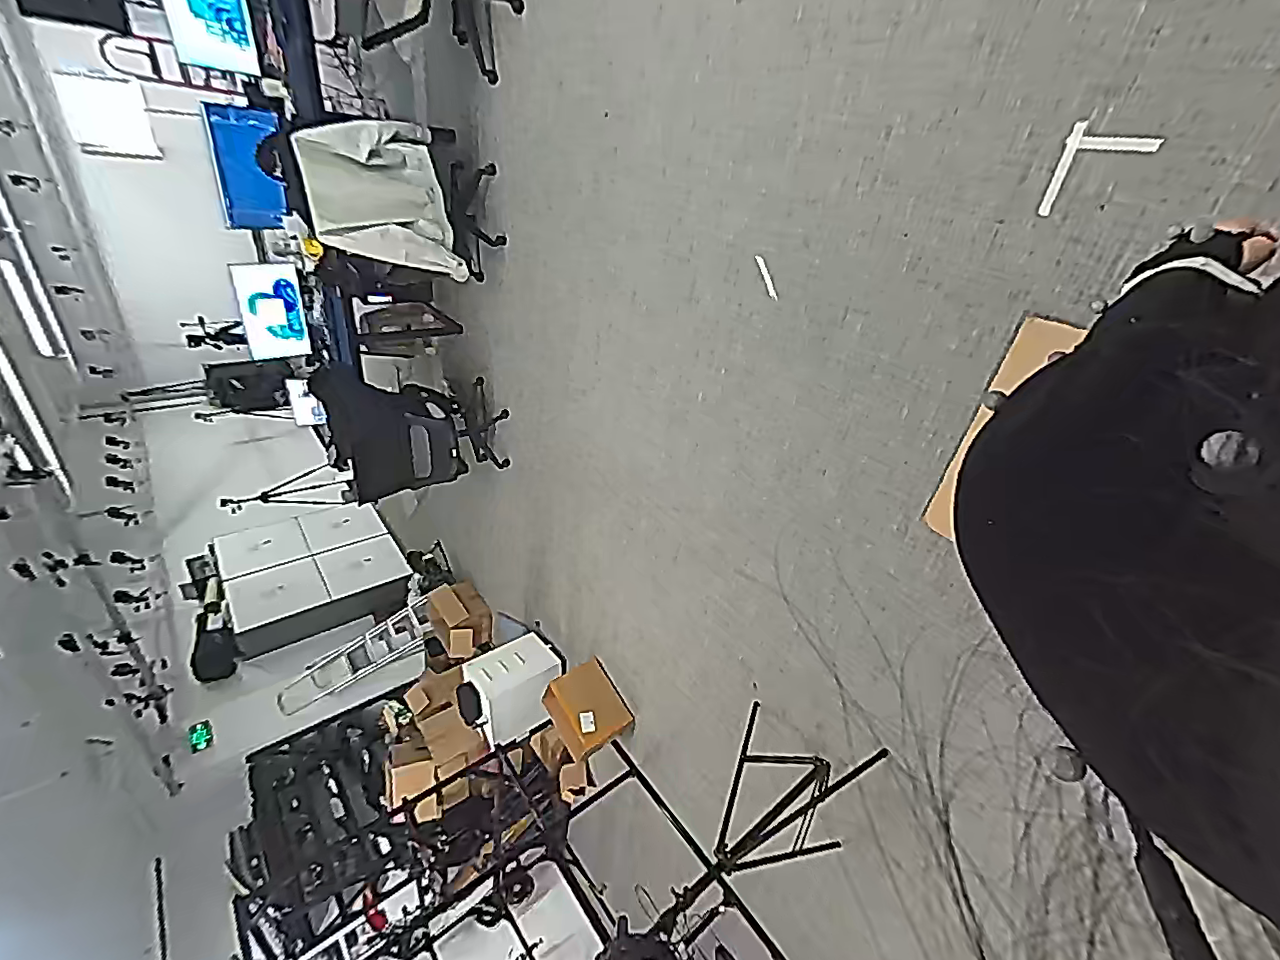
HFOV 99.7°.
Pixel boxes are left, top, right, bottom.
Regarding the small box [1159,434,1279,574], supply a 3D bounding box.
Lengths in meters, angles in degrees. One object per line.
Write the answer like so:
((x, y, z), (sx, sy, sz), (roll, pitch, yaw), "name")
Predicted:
((1.113, 0.034, 0.988), (0.168, 0.176, 0.179), (36, 132, 40), "small box")
